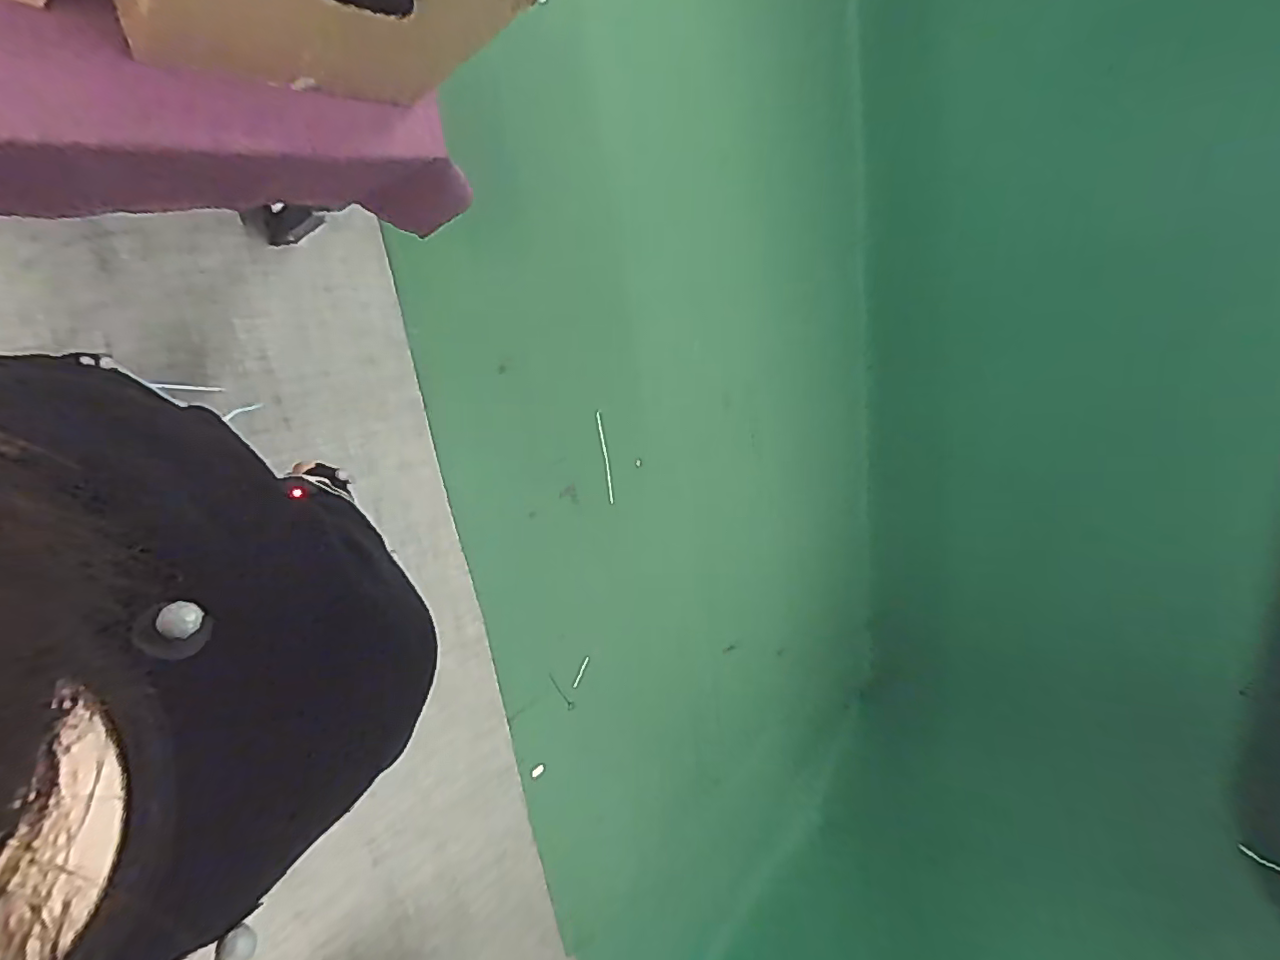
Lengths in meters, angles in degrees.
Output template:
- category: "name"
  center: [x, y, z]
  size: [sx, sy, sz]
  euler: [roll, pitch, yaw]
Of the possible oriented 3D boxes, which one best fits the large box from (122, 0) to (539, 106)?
- category: "large box"
  center: [-0.348, -0.662, 0.520]
  size: [0.320, 0.320, 0.408]
  euler: [-25, 114, -42]
